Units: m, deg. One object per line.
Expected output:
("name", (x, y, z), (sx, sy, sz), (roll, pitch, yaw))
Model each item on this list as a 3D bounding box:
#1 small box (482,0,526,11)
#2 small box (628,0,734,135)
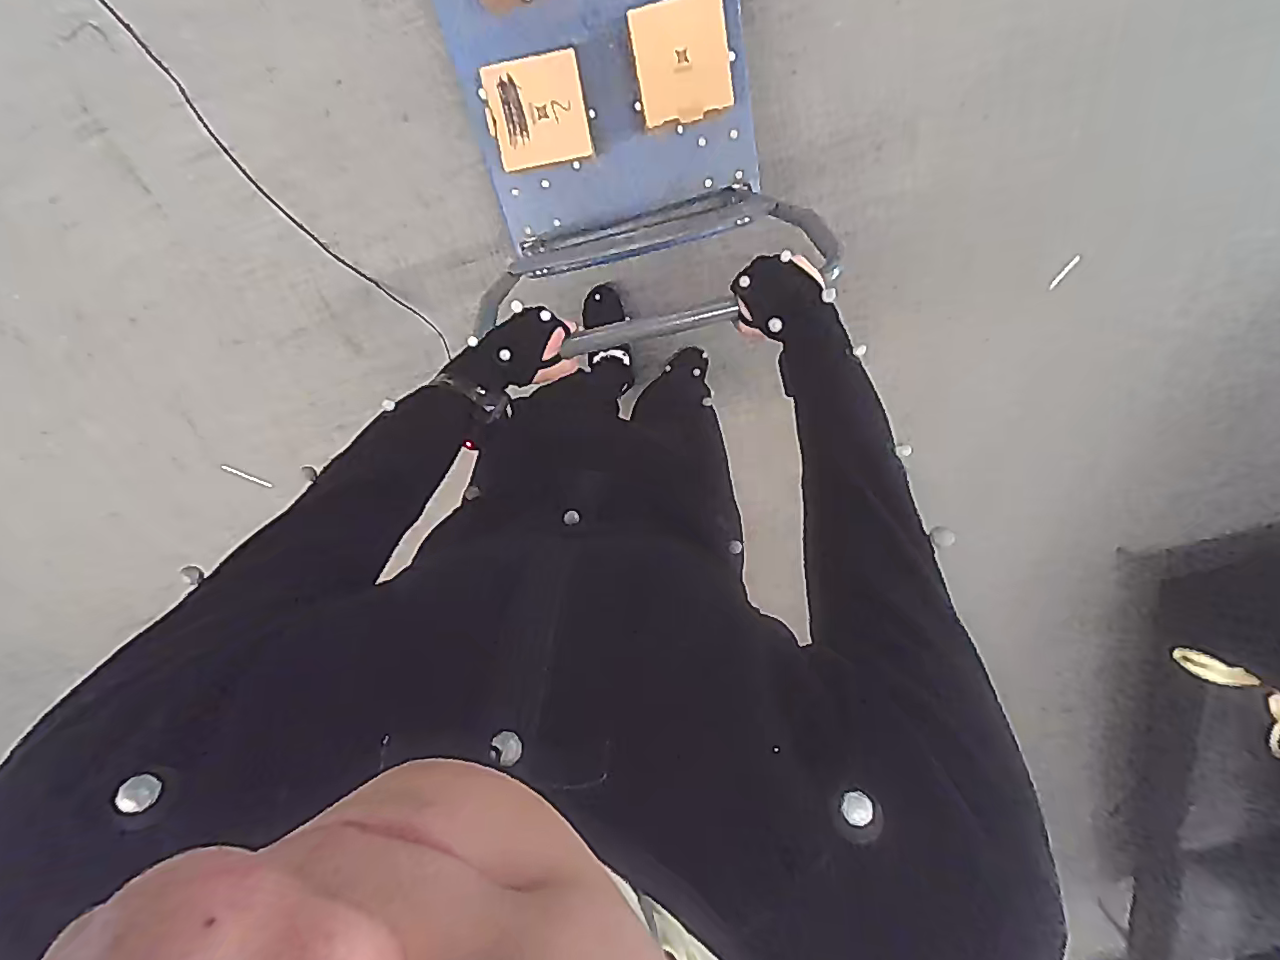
("small box", (-0.235, -0.954, 0.932), (0.168, 0.176, 0.179), (-19, 117, 7))
("small box", (0.073, -0.786, 1.033), (0.168, 0.176, 0.179), (-12, 118, 5))
